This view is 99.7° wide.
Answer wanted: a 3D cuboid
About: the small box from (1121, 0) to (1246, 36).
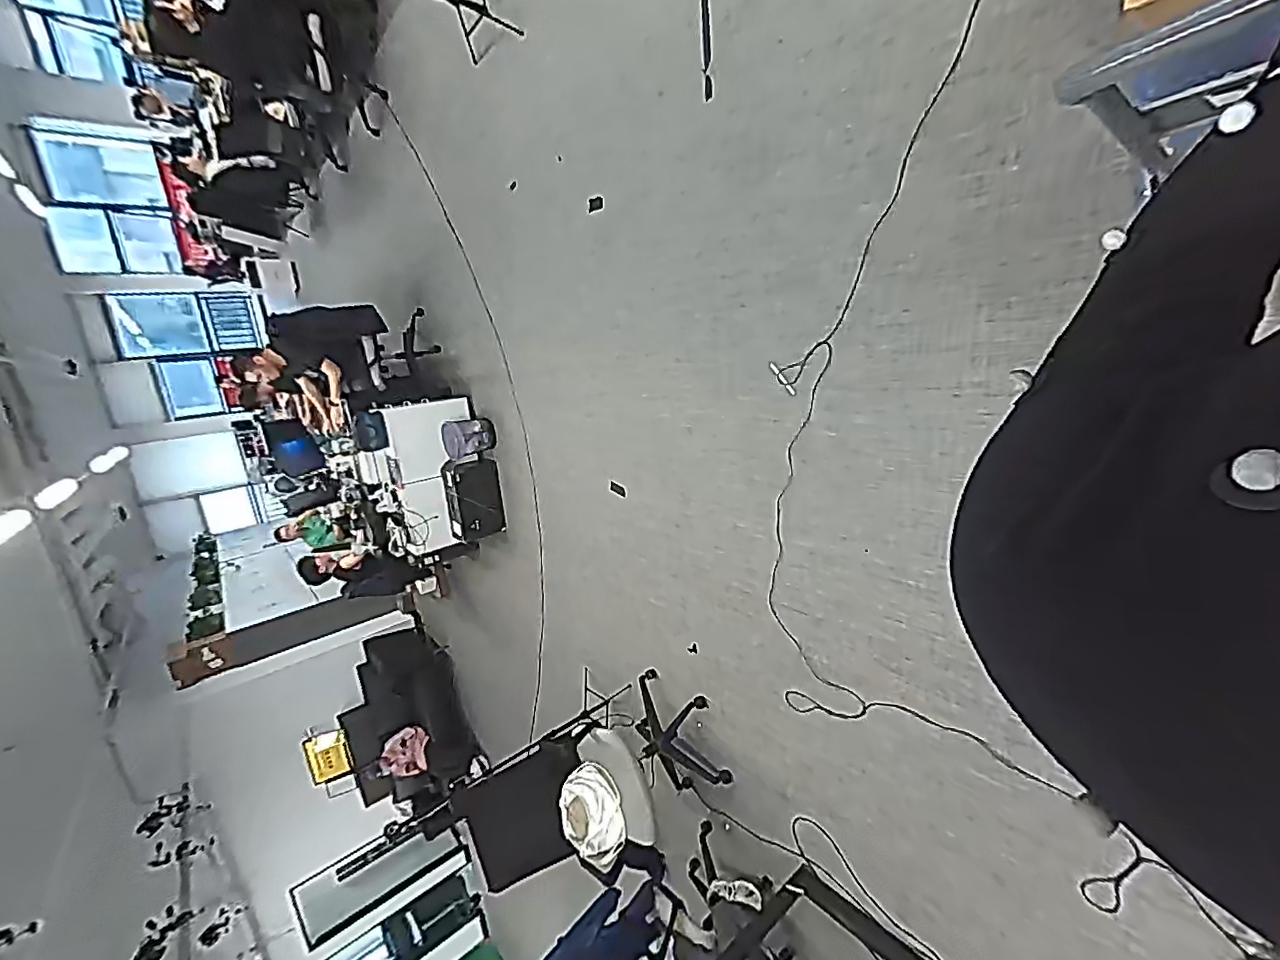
[{"bbox_3d":[0.808,-0.770,0.753,0.179,0.176,0.168,7,108,49],"label":"small box"}]
